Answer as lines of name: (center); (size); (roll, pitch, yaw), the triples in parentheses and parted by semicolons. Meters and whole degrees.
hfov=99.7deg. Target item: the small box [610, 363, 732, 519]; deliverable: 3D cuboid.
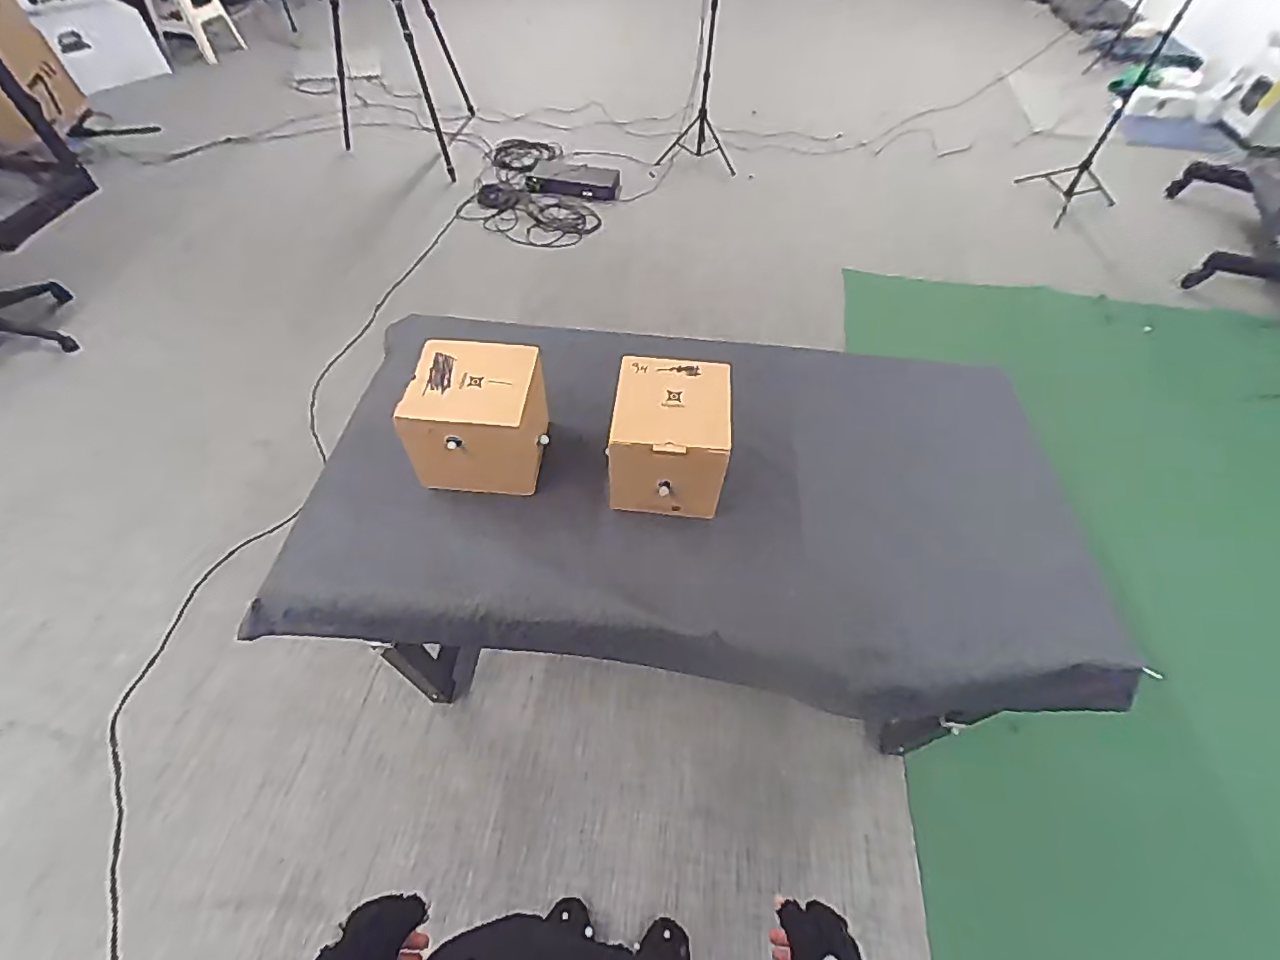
small box: (0.048, -0.056, 0.842); (0.168, 0.176, 0.179); (6, 54, 2)

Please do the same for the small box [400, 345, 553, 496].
small box: (-0.243, -0.090, 0.854); (0.179, 0.176, 0.168); (5, 54, 0)
